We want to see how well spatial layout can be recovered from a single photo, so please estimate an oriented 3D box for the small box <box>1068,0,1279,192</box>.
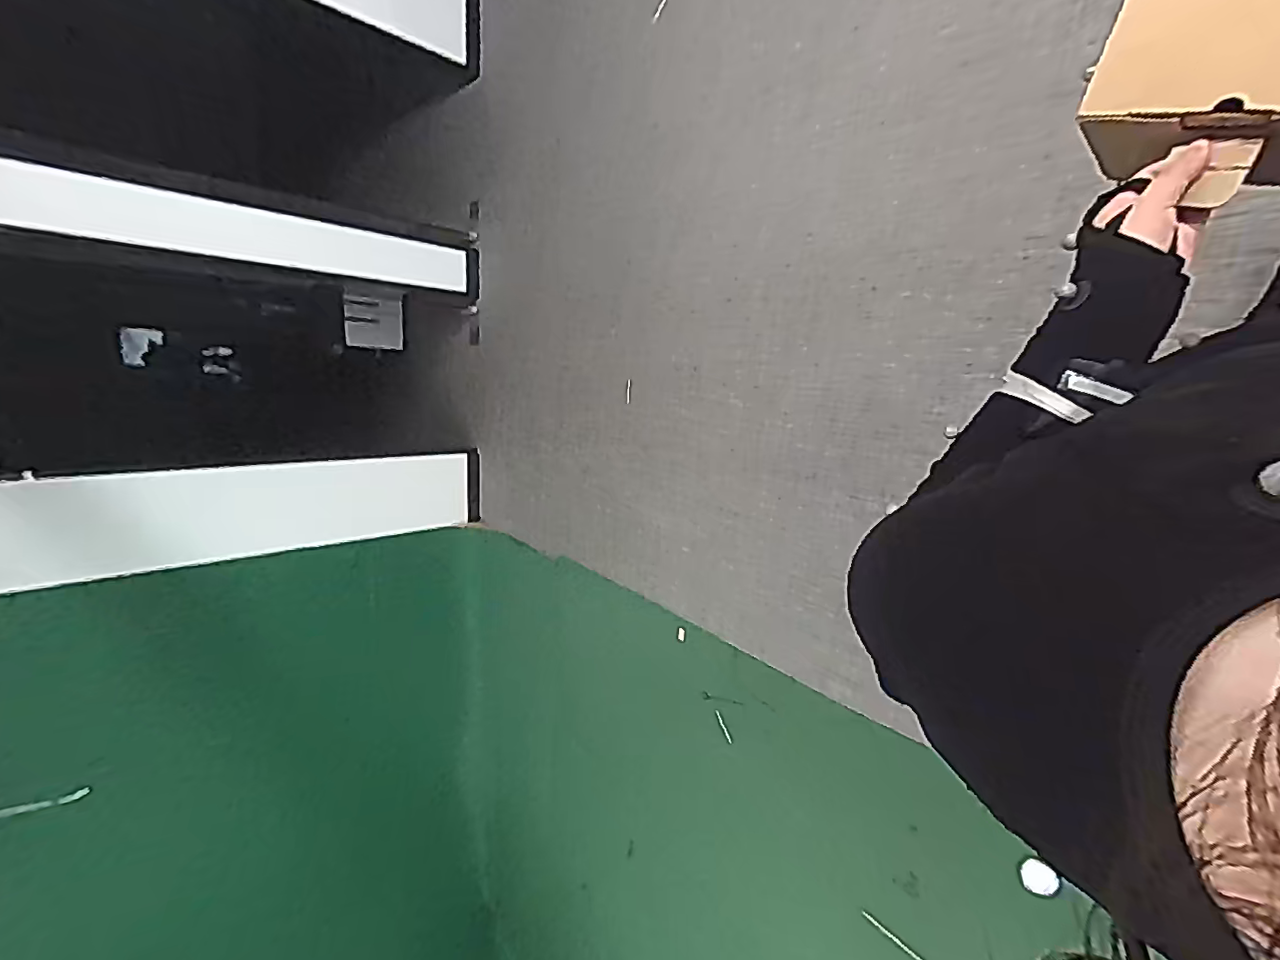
[{"bbox_3d":[0.451,-0.325,0.386,0.168,0.176,0.179,30,119,40],"label":"small box"}]
